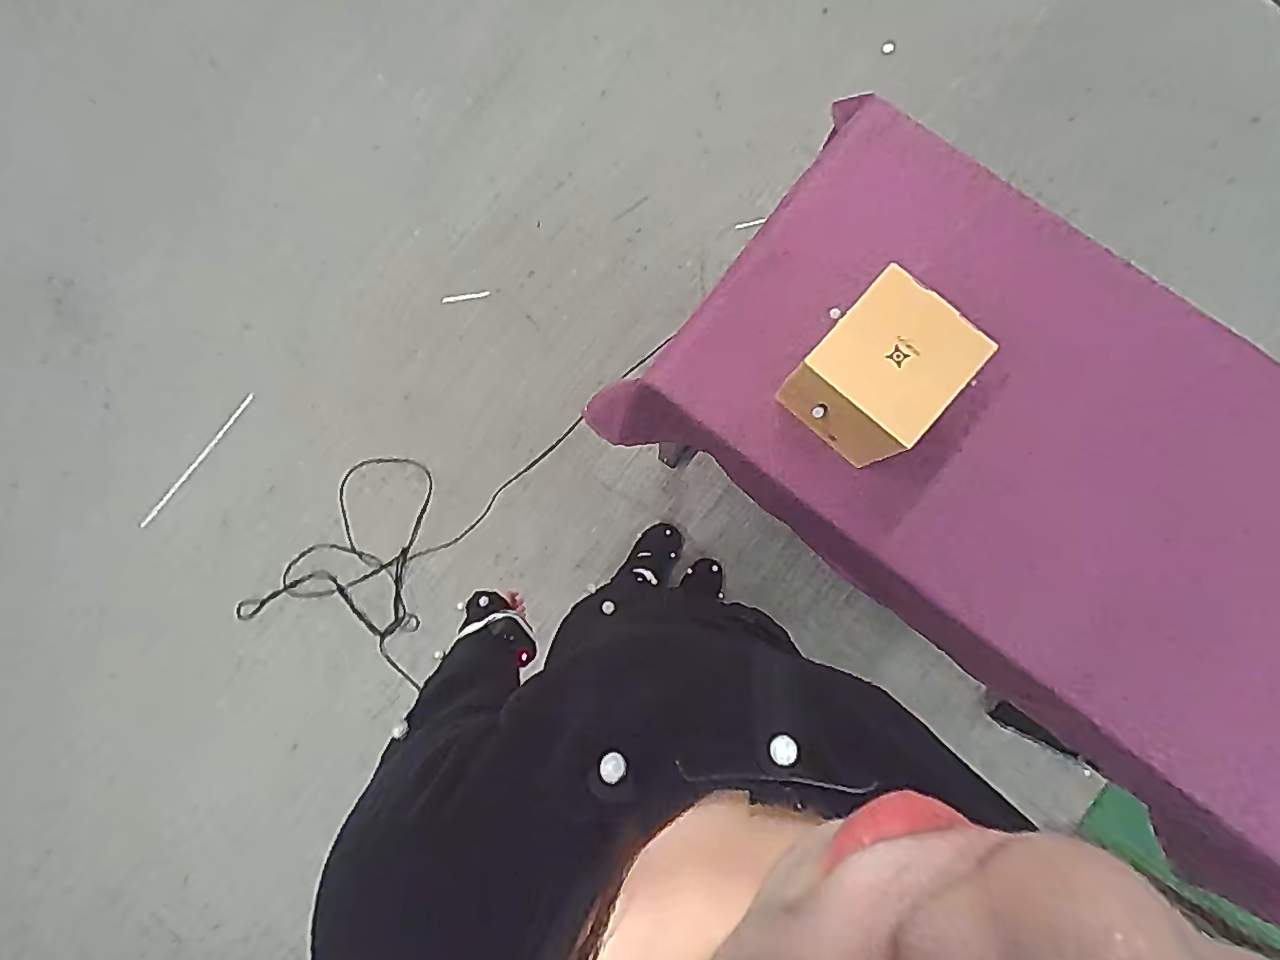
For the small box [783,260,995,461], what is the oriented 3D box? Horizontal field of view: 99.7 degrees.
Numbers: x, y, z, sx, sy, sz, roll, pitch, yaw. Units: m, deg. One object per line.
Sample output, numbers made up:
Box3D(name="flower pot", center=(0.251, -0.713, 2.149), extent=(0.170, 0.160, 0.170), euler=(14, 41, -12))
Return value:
Box3D(name="small box", center=(0.314, -0.146, 0.730), extent=(0.168, 0.176, 0.179), euler=(42, 85, 6))
